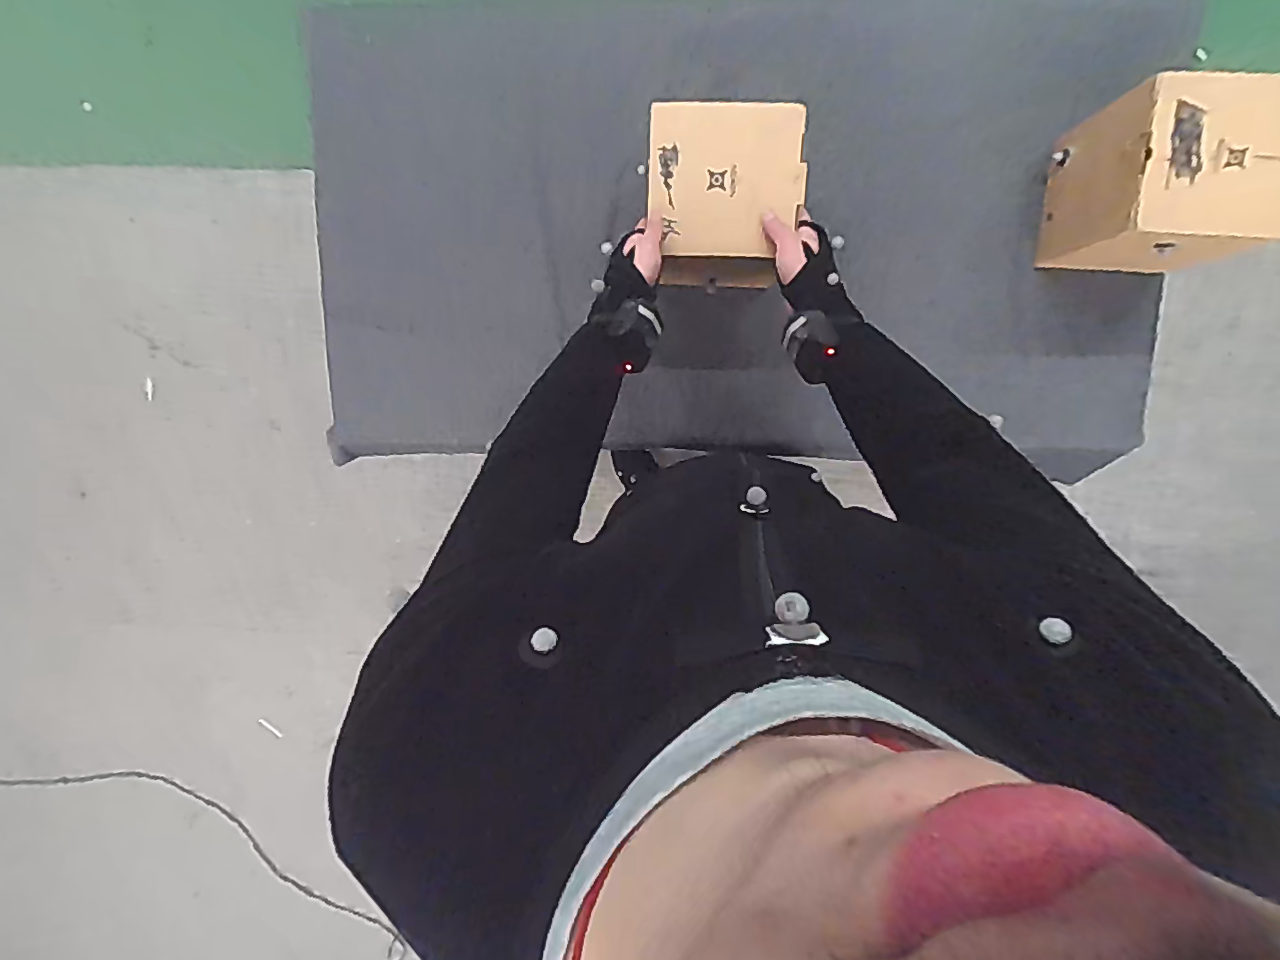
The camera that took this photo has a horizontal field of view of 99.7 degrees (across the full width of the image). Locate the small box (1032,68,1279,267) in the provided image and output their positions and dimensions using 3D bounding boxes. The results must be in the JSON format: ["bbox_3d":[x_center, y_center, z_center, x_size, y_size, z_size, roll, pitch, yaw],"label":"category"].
[{"bbox_3d":[0.637,-0.372,0.674,0.179,0.176,0.168,2,99,-1],"label":"small box"}]

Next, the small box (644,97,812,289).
[{"bbox_3d":[0.098,-0.343,0.678,0.179,0.176,0.168,1,98,-1],"label":"small box"}]
